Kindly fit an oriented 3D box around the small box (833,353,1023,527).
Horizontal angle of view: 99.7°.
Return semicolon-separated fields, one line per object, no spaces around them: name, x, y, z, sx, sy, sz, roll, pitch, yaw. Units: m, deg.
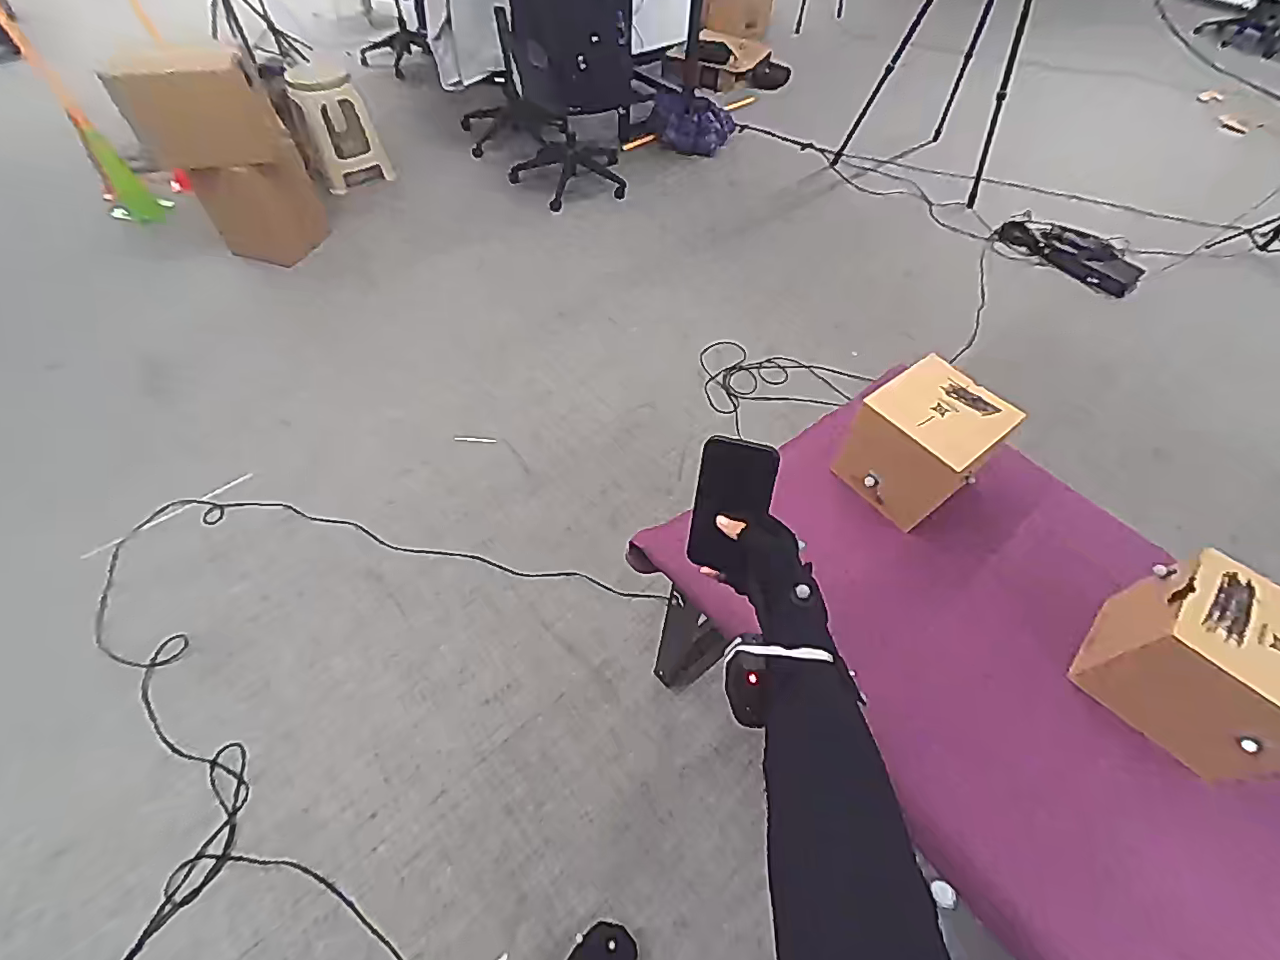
small box;0.436;-0.060;0.848;0.179;0.176;0.168;-32;62;-21
